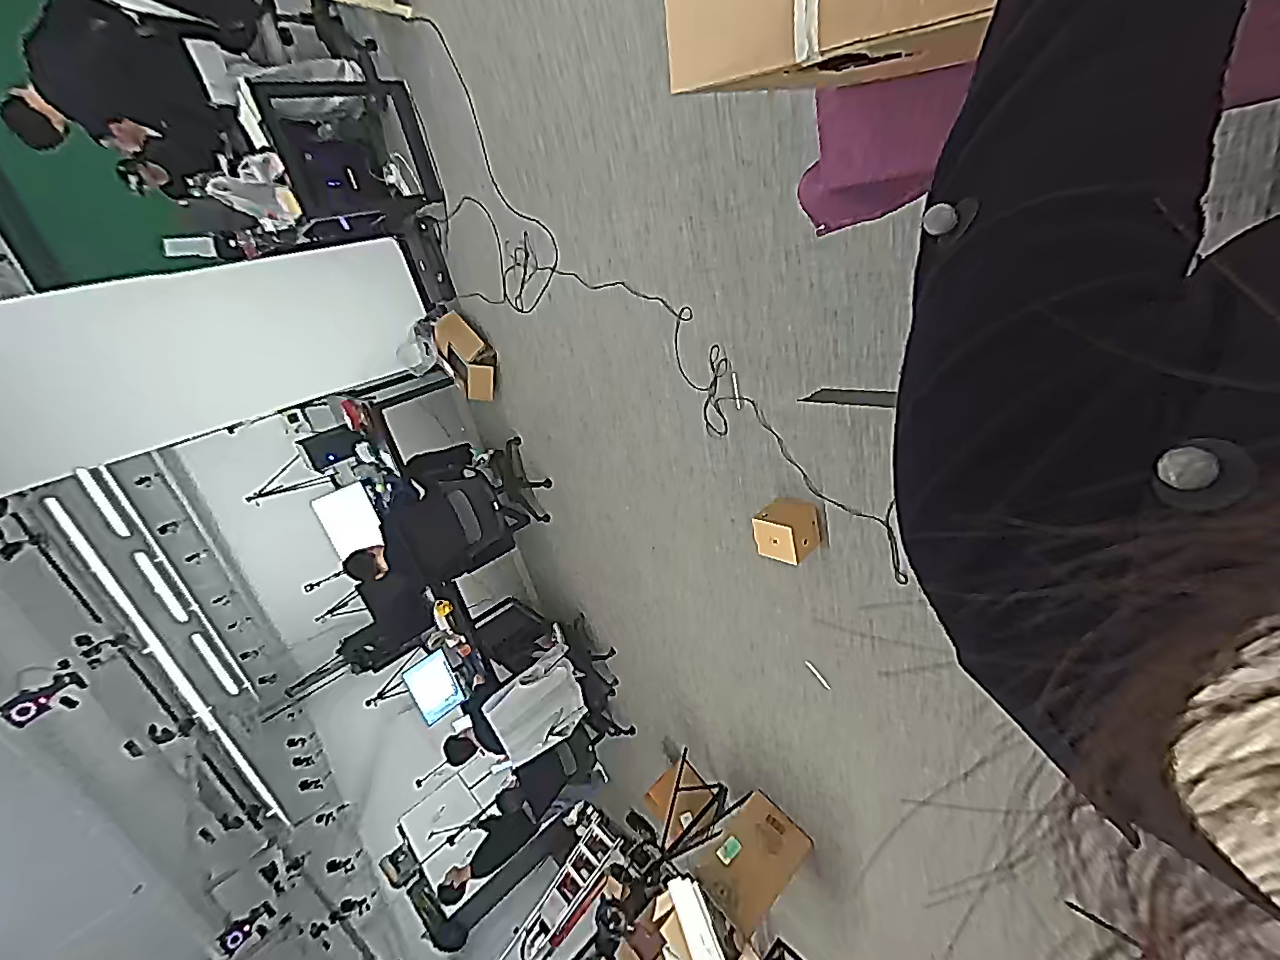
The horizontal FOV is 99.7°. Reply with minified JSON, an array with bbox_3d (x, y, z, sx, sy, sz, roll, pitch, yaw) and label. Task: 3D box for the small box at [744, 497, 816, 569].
[{"bbox_3d":[0.513,0.199,2.016,0.179,0.176,0.168,55,171,-26],"label":"small box"}]
